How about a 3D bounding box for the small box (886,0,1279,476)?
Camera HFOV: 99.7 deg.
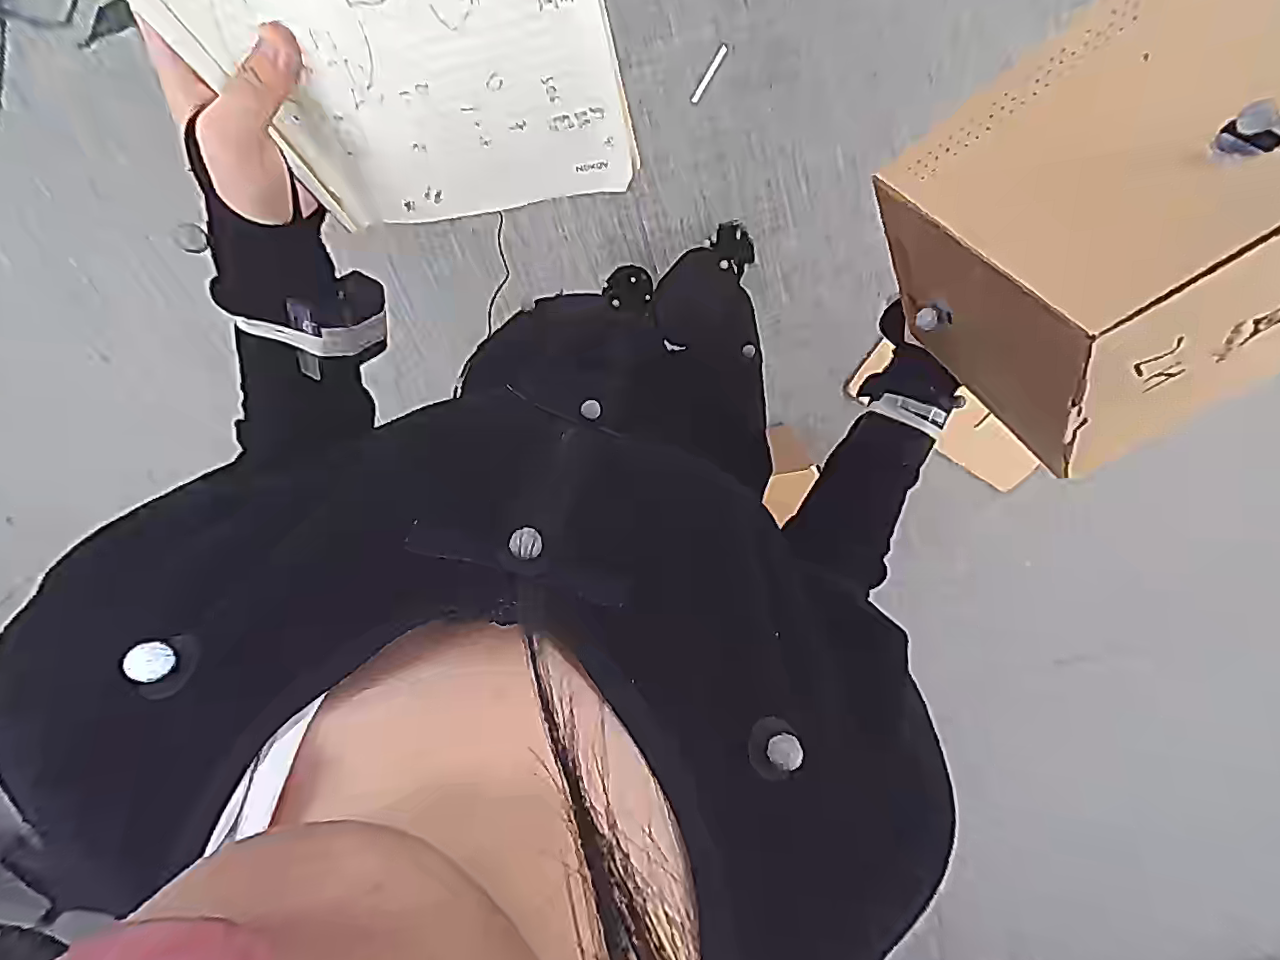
[{"bbox_3d":[0.278,-0.139,0.311,0.179,0.176,0.168,-34,142,16],"label":"small box"}]
